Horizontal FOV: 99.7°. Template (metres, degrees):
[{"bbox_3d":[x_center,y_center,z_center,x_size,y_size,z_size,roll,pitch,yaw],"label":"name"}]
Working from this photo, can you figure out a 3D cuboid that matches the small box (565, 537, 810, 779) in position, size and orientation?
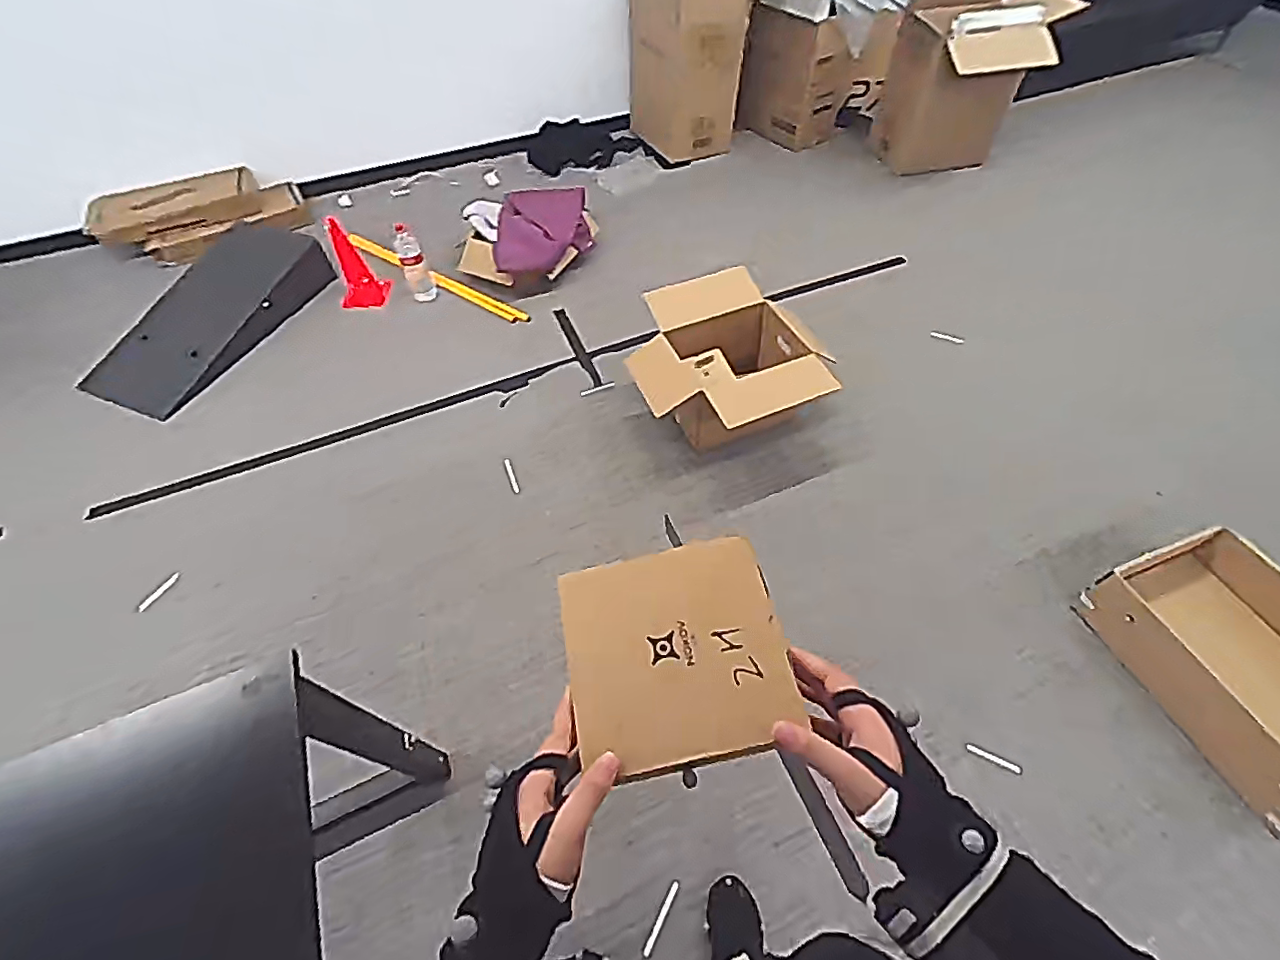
[{"bbox_3d":[0.039,0.177,0.512,0.179,0.176,0.168,-12,60,-1],"label":"small box"}]
